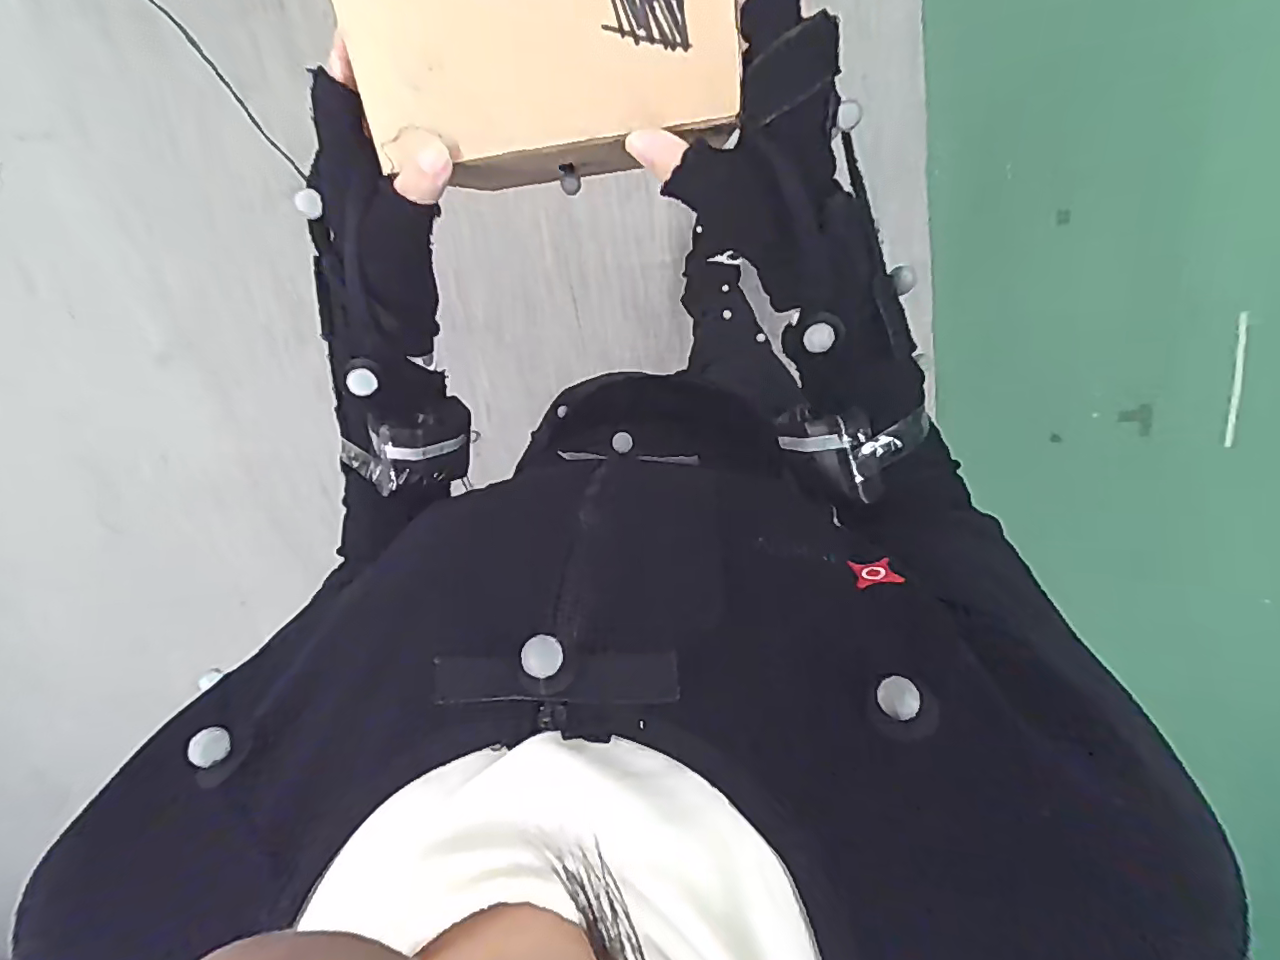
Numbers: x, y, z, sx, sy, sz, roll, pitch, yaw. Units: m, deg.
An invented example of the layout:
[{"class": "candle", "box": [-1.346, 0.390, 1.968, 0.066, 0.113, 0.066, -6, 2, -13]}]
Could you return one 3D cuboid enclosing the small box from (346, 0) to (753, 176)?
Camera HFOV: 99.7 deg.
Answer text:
[{"class": "small box", "box": [-0.040, -0.270, 0.288, 0.179, 0.176, 0.168, -5, 115, 7]}]
